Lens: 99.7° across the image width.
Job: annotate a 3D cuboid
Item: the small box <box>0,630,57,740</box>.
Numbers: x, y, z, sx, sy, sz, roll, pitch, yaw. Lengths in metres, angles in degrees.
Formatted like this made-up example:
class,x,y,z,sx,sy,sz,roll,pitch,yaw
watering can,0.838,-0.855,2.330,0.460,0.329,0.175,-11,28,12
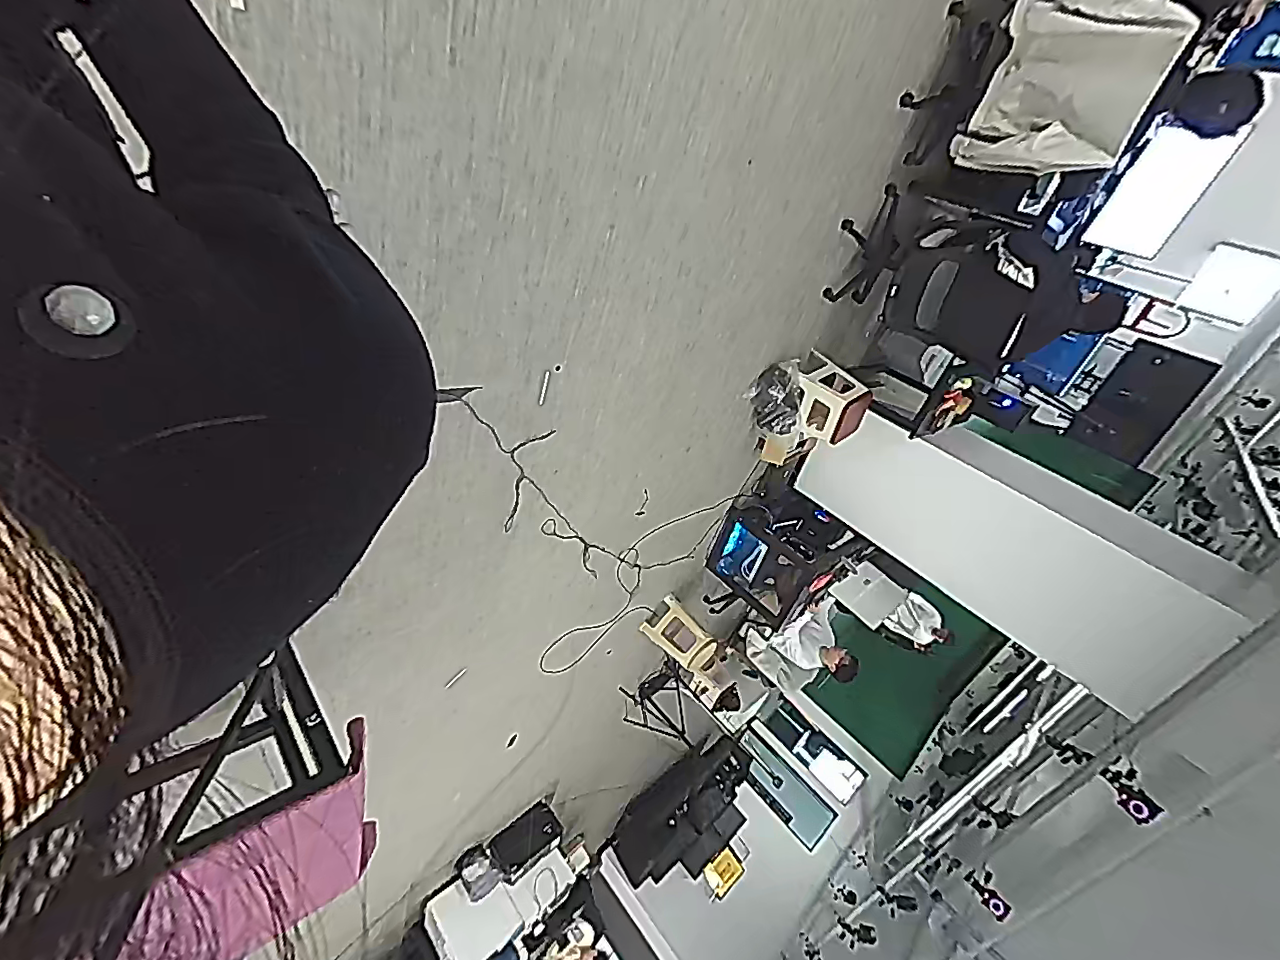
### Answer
class,x,y,z,sx,sy,sz,roll,pitch,yaw
small box,-1.514,0.491,1.271,0.168,0.176,0.179,-16,134,-44

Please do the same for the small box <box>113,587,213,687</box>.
class,x,y,z,sx,sy,sz,roll,pitch,yaw
small box,-1.297,0.419,1.474,0.179,0.176,0.168,-12,131,-45
